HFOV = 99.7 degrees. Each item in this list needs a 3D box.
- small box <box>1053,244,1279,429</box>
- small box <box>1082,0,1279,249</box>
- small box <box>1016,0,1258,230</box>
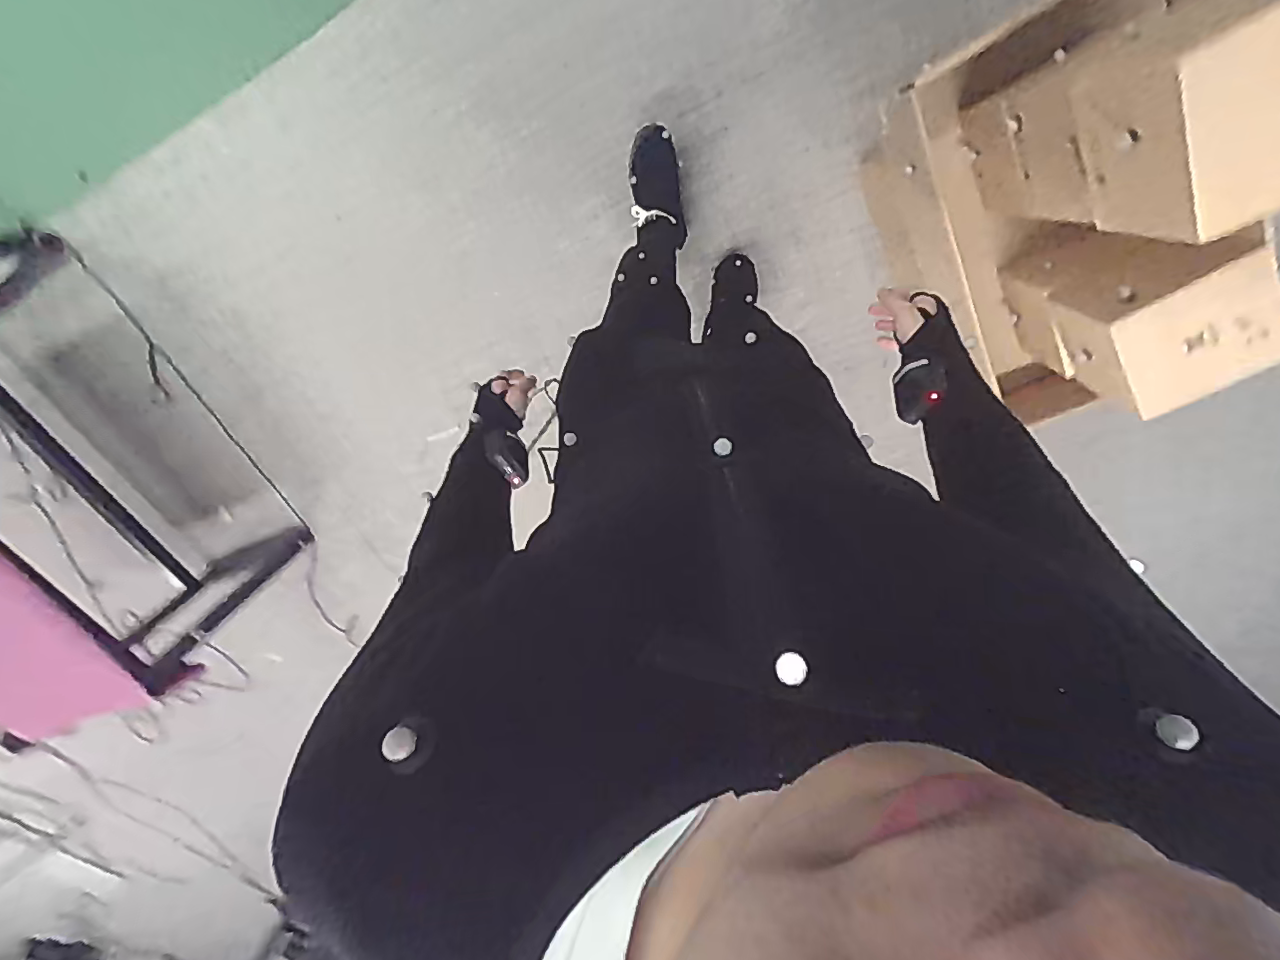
[{"bbox_3d":[0.733,-0.208,0.768,0.179,0.176,0.168,-30,112,22],"label":"small box"},{"bbox_3d":[0.575,-0.349,0.526,0.179,0.176,0.168,-24,113,18],"label":"small box"},{"bbox_3d":[0.597,-0.430,0.664,0.179,0.176,0.168,-22,113,17],"label":"small box"}]
